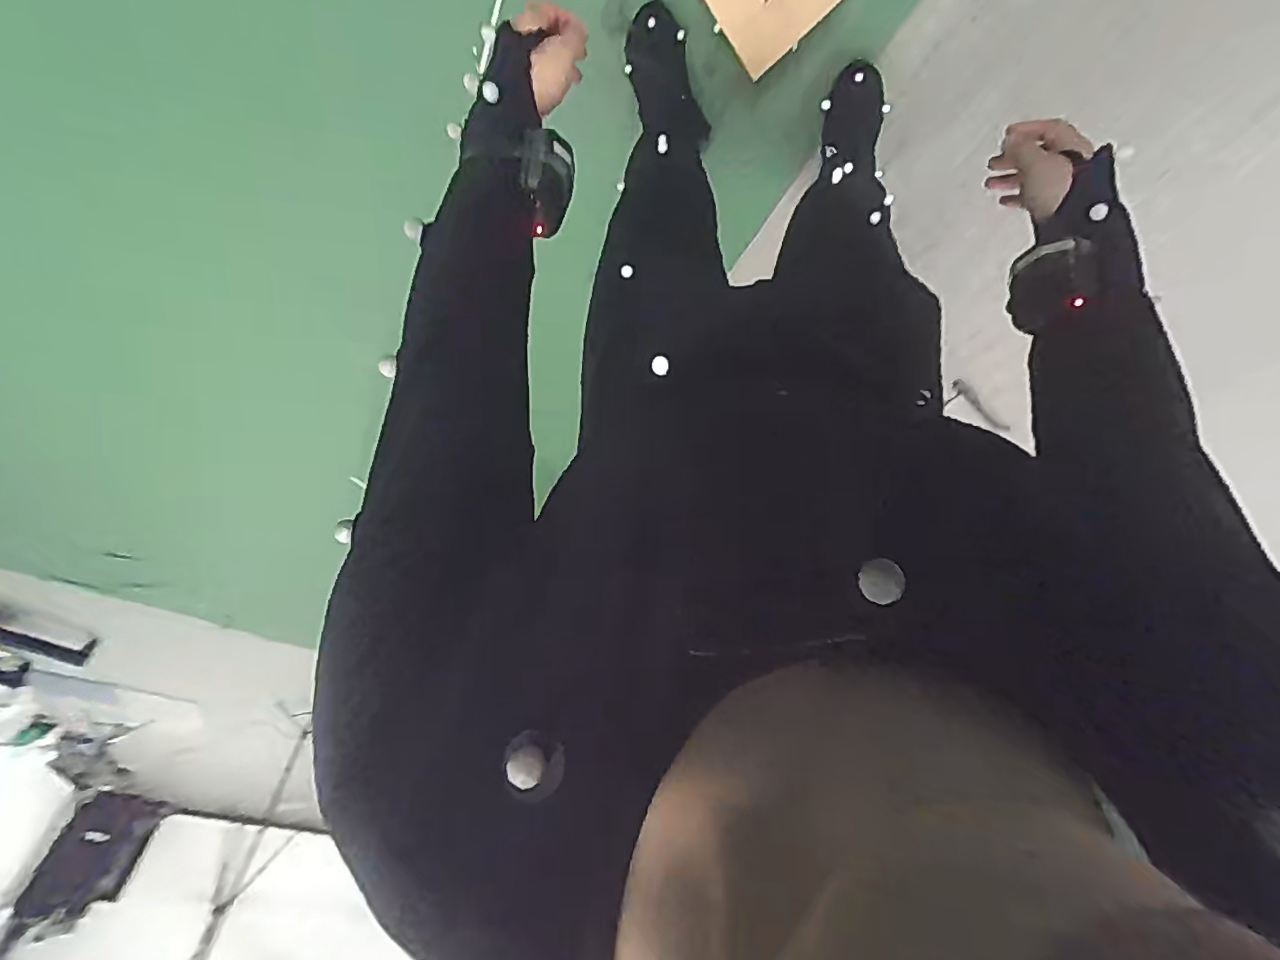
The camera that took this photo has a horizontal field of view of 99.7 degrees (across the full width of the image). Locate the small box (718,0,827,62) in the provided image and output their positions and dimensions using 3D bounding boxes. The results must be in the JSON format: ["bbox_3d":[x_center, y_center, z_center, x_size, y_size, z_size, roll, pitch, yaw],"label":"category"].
[{"bbox_3d":[0.208,-0.821,0.855,0.179,0.176,0.168,-29,129,31],"label":"small box"}]
